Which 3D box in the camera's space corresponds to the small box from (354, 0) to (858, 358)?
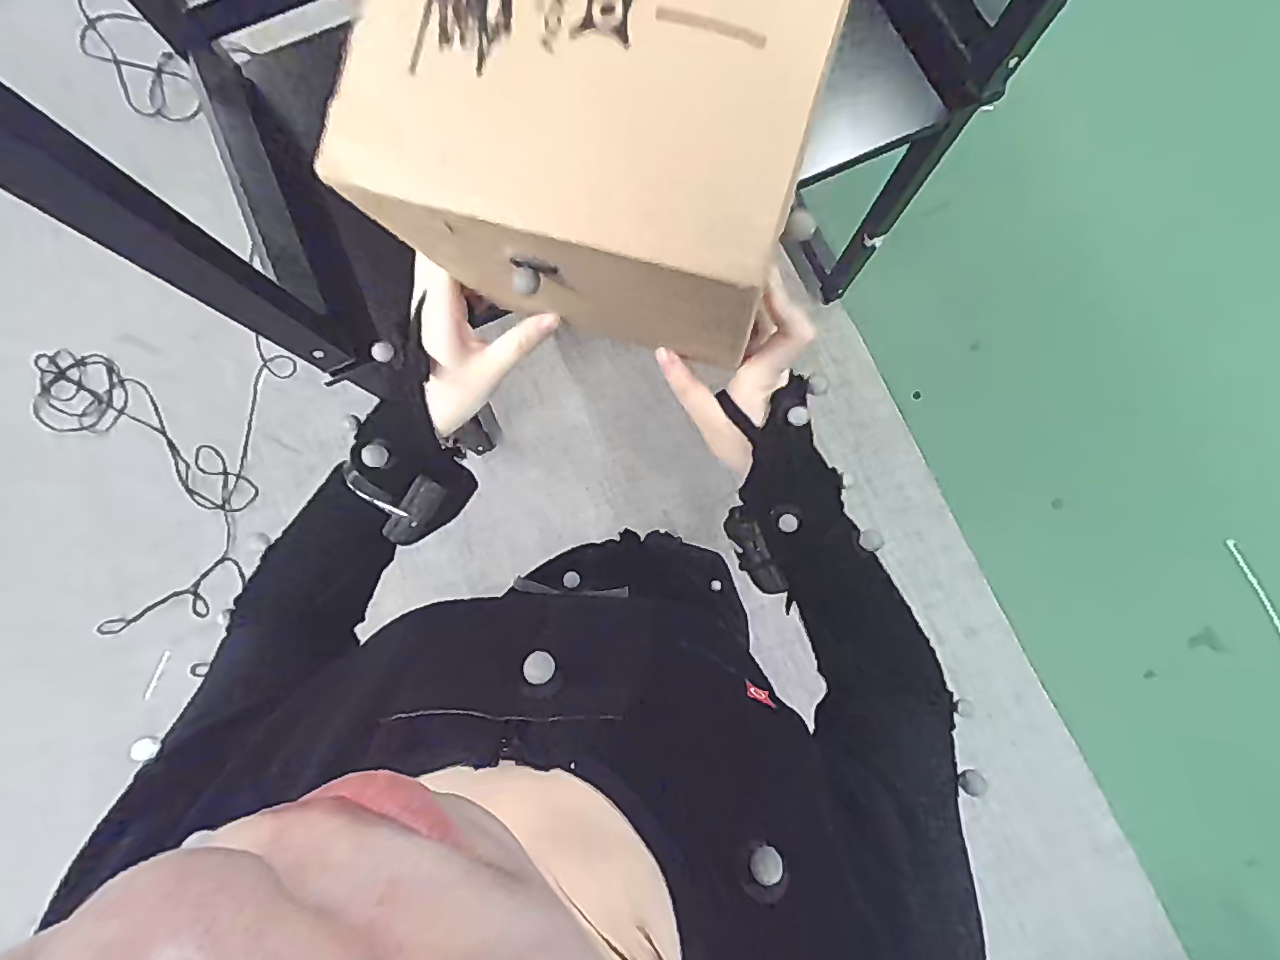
[{"bbox_3d":[-0.003,-0.175,0.286,0.179,0.176,0.168,17,94,6],"label":"small box"}]
